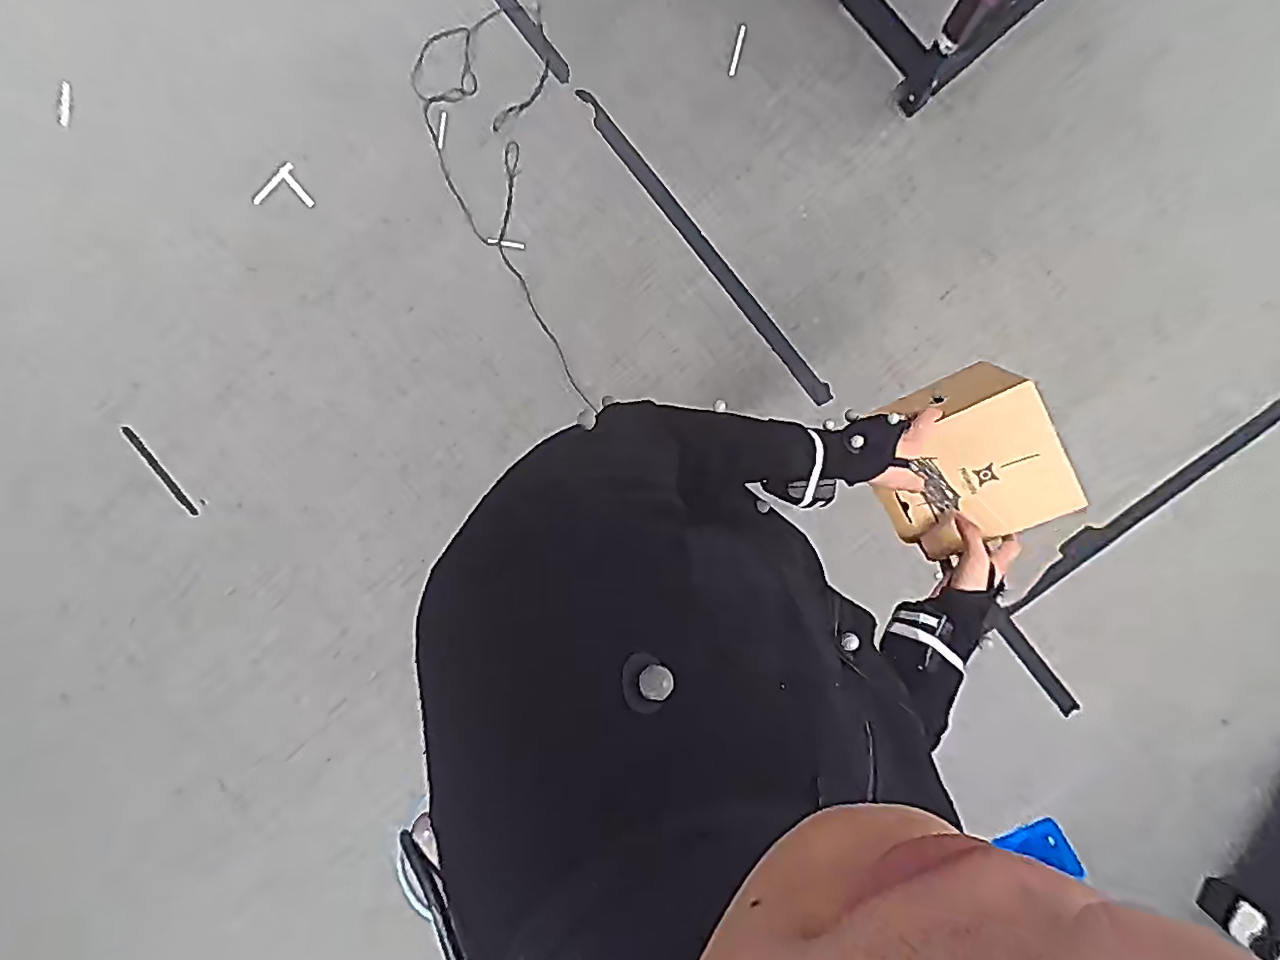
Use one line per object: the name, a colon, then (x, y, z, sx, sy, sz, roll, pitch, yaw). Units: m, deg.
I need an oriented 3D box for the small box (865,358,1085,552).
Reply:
small box: (0.408, -0.039, 0.696, 0.179, 0.176, 0.168, -28, 100, 22)
